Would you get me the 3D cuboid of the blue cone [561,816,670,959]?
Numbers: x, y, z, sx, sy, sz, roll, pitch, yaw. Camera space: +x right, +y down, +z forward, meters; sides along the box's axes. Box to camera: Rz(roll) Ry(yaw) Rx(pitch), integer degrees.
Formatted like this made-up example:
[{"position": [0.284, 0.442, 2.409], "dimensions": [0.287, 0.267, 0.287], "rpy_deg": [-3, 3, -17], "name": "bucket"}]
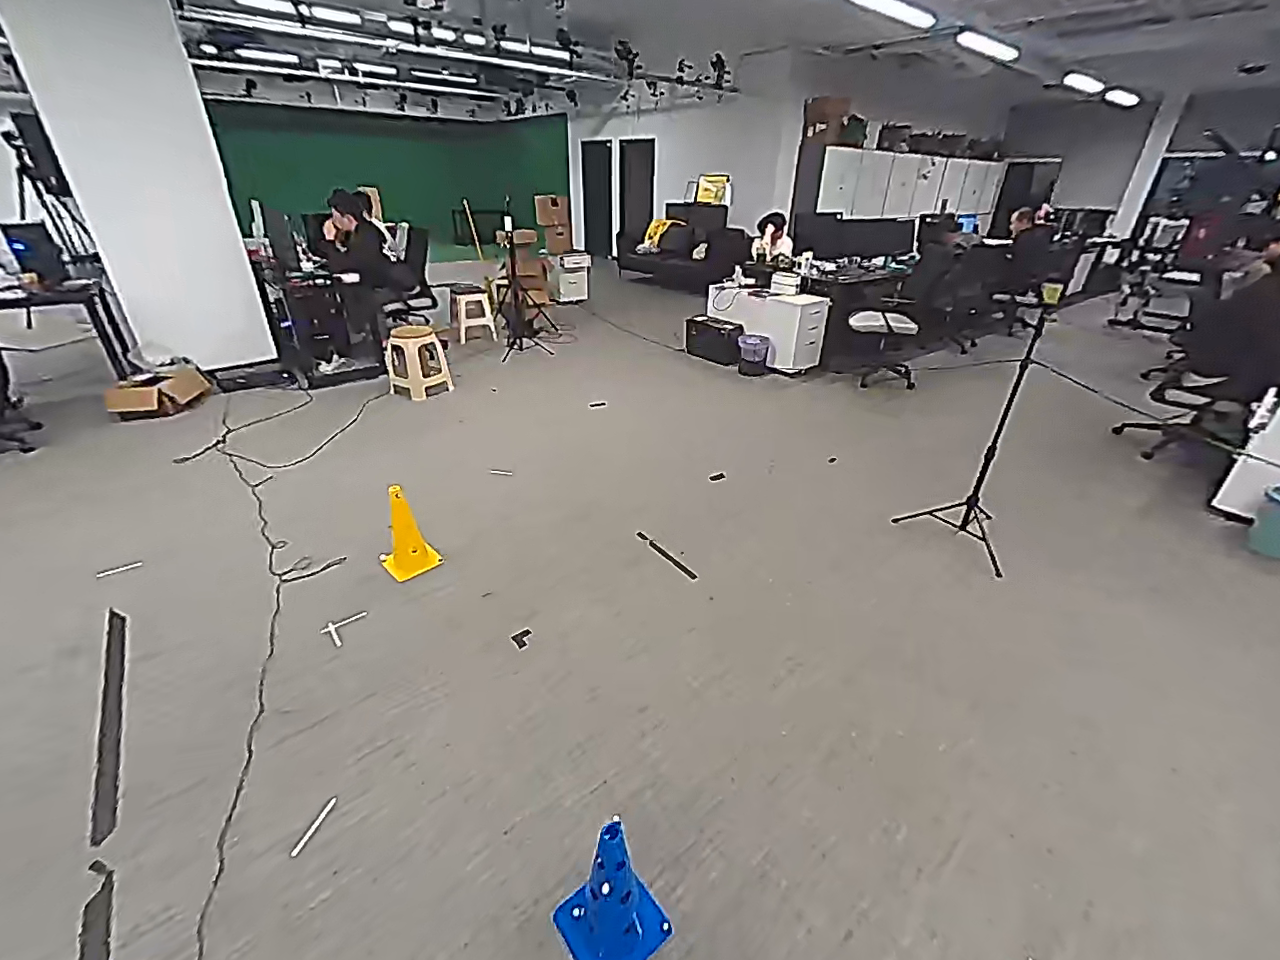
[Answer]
[{"position": [-0.052, 0.811, 1.095], "dimensions": [0.192, 0.380, 0.193], "rpy_deg": [-19, 35, -33], "name": "blue cone"}]
